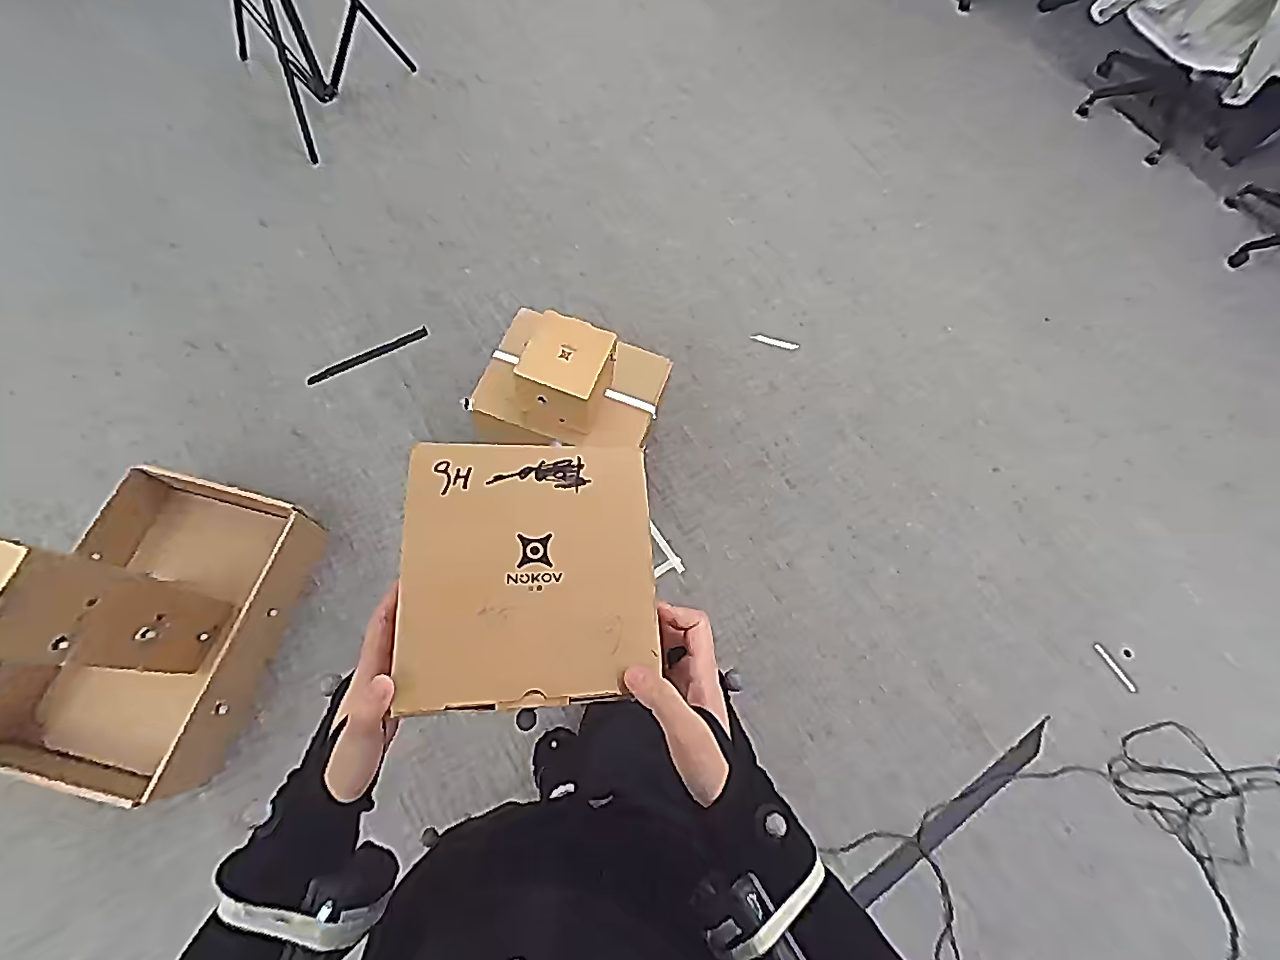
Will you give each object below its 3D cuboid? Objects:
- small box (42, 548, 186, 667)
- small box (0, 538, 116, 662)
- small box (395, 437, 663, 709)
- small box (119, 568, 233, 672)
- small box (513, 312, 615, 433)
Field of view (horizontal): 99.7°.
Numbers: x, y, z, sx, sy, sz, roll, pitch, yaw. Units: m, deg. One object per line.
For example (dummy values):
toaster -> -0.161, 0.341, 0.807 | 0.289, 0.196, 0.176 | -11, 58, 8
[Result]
small box -> -1.029, 0.247, 1.014 | 0.179, 0.176, 0.168 | 17, 68, 0
small box -> -1.018, 0.186, 0.862 | 0.179, 0.176, 0.168 | 15, 68, 2
small box -> -0.086, 0.081, 0.433 | 0.168, 0.176, 0.179 | 1, 68, -14
small box -> -1.043, 0.309, 1.163 | 0.179, 0.176, 0.168 | 18, 68, 1
small box -> -0.162, -0.230, 1.196 | 0.168, 0.176, 0.179 | 20, 67, 2
